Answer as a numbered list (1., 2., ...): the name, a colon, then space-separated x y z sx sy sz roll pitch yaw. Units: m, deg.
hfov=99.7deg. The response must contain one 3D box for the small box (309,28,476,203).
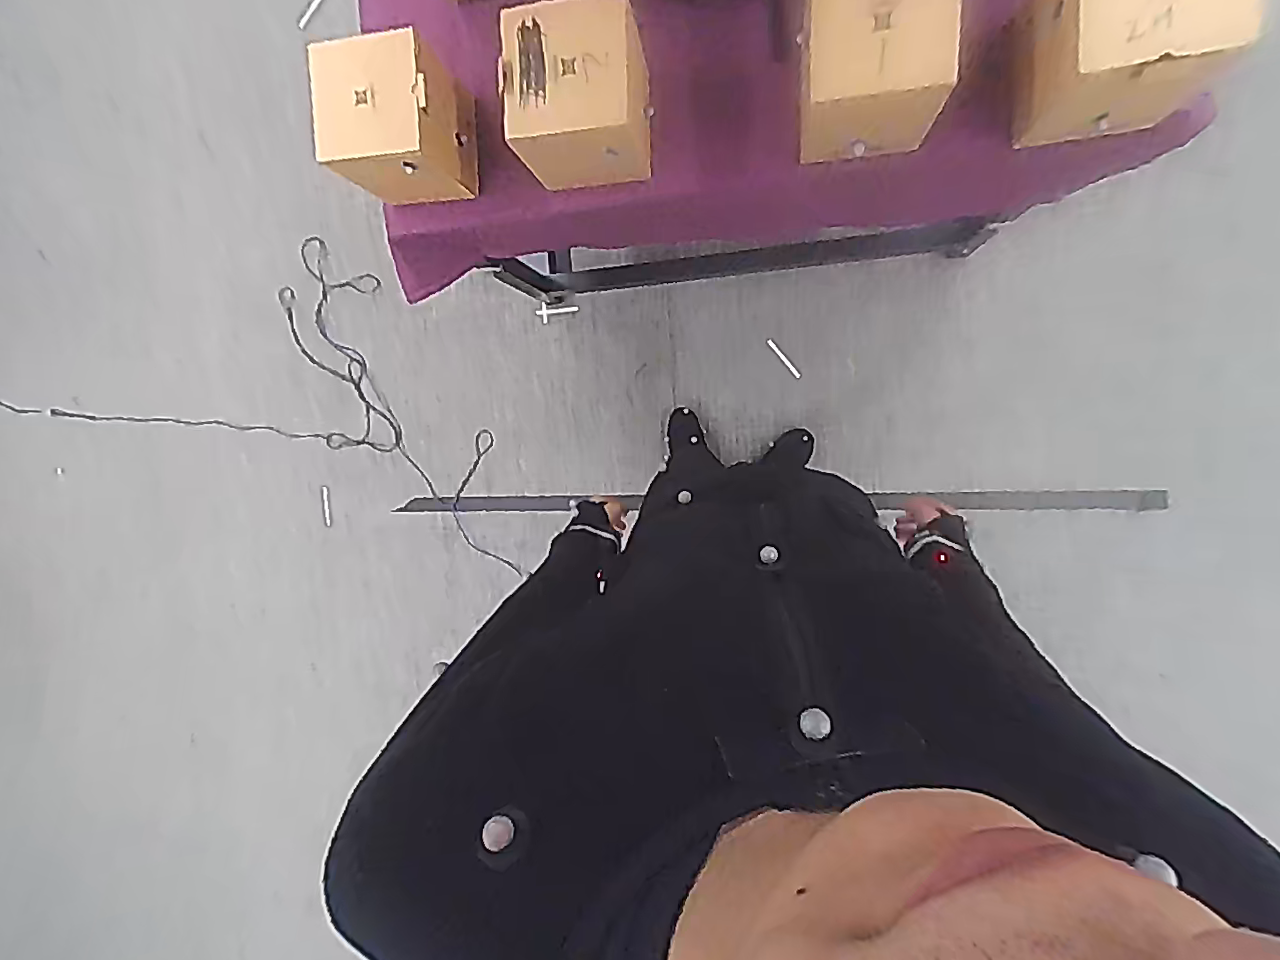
1. small box: -0.381 -0.557 0.854 0.179 0.176 0.168 1 96 11

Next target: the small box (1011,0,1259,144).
1. small box: 0.571 -0.544 0.647 0.168 0.176 0.179 -1 96 14
